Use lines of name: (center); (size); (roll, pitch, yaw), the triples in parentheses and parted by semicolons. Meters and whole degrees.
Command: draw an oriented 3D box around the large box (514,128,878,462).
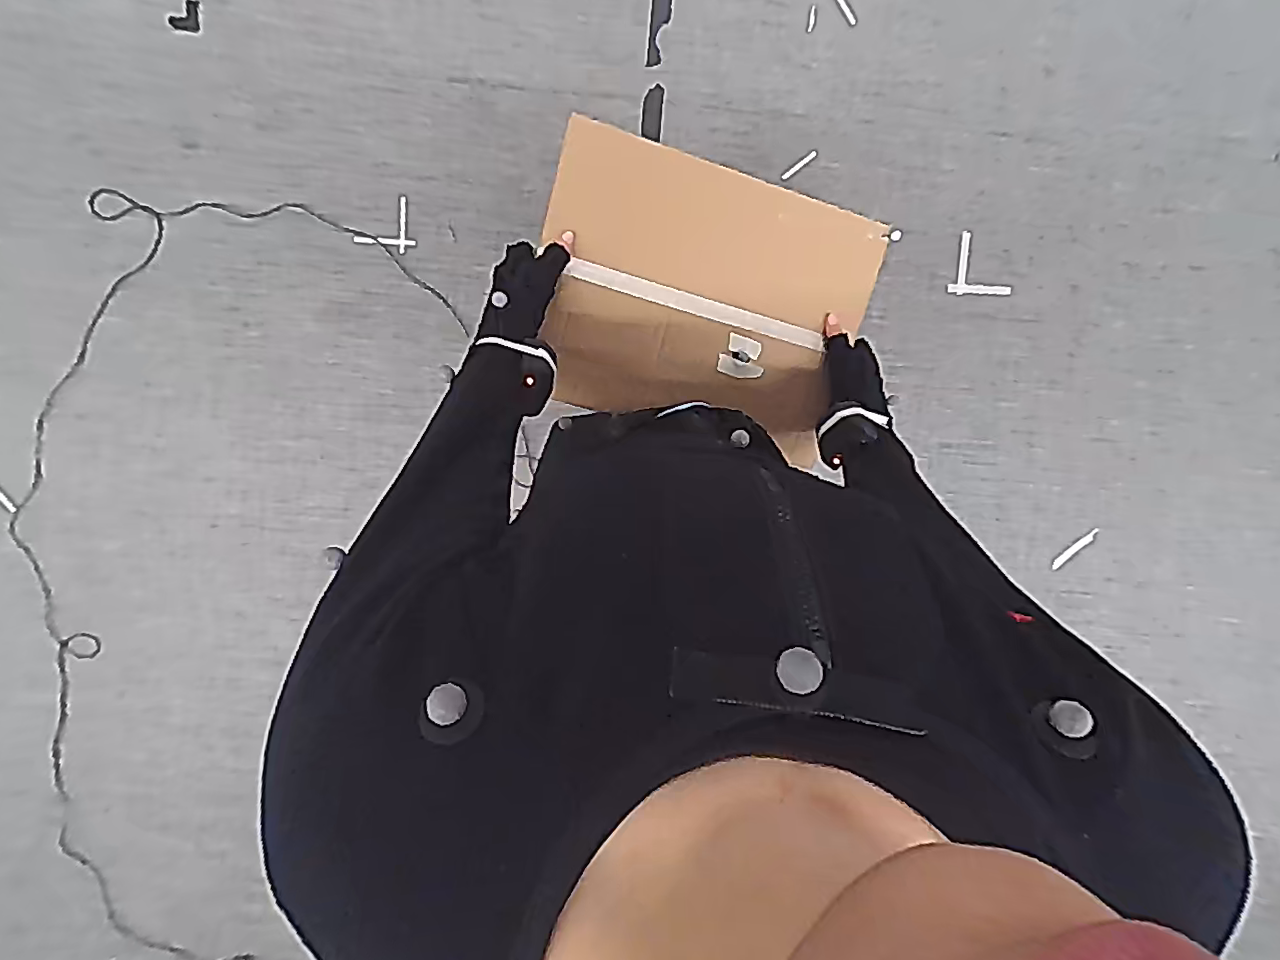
large box: (0.053, -0.243, 0.813); (0.408, 0.320, 0.320); (15, 101, -10)
